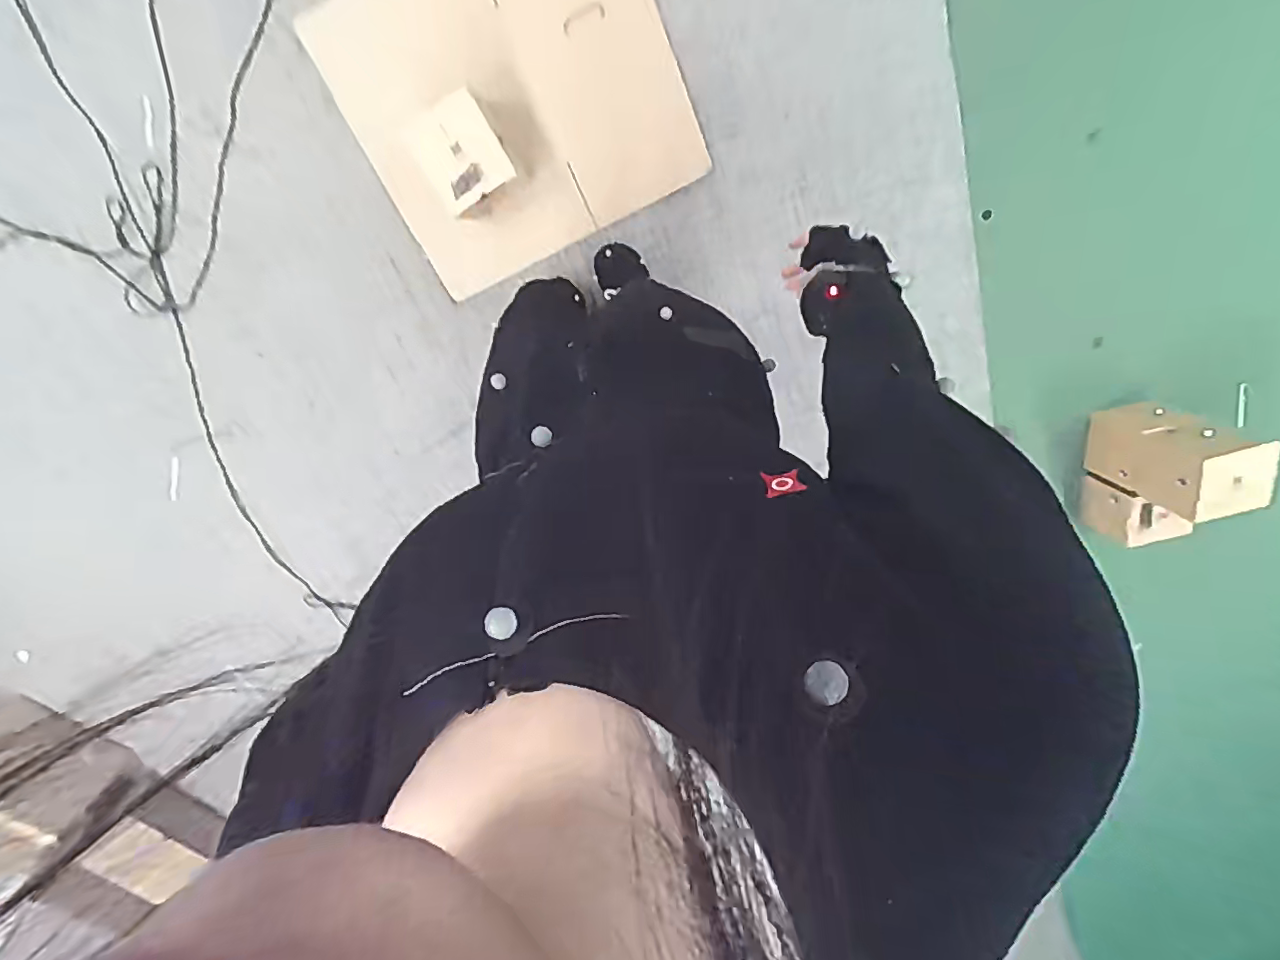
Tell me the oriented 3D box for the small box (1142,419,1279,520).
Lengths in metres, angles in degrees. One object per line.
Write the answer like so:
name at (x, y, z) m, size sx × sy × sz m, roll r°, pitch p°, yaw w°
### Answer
small box at (1.368, -0.035, 1.304) m, size 0.168 × 0.176 × 0.179 m, roll -16°, pitch 115°, yaw 6°

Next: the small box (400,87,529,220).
small box at (-0.355, -0.675, 1.136) m, size 0.168 × 0.176 × 0.179 m, roll -28°, pitch 112°, yaw 12°
